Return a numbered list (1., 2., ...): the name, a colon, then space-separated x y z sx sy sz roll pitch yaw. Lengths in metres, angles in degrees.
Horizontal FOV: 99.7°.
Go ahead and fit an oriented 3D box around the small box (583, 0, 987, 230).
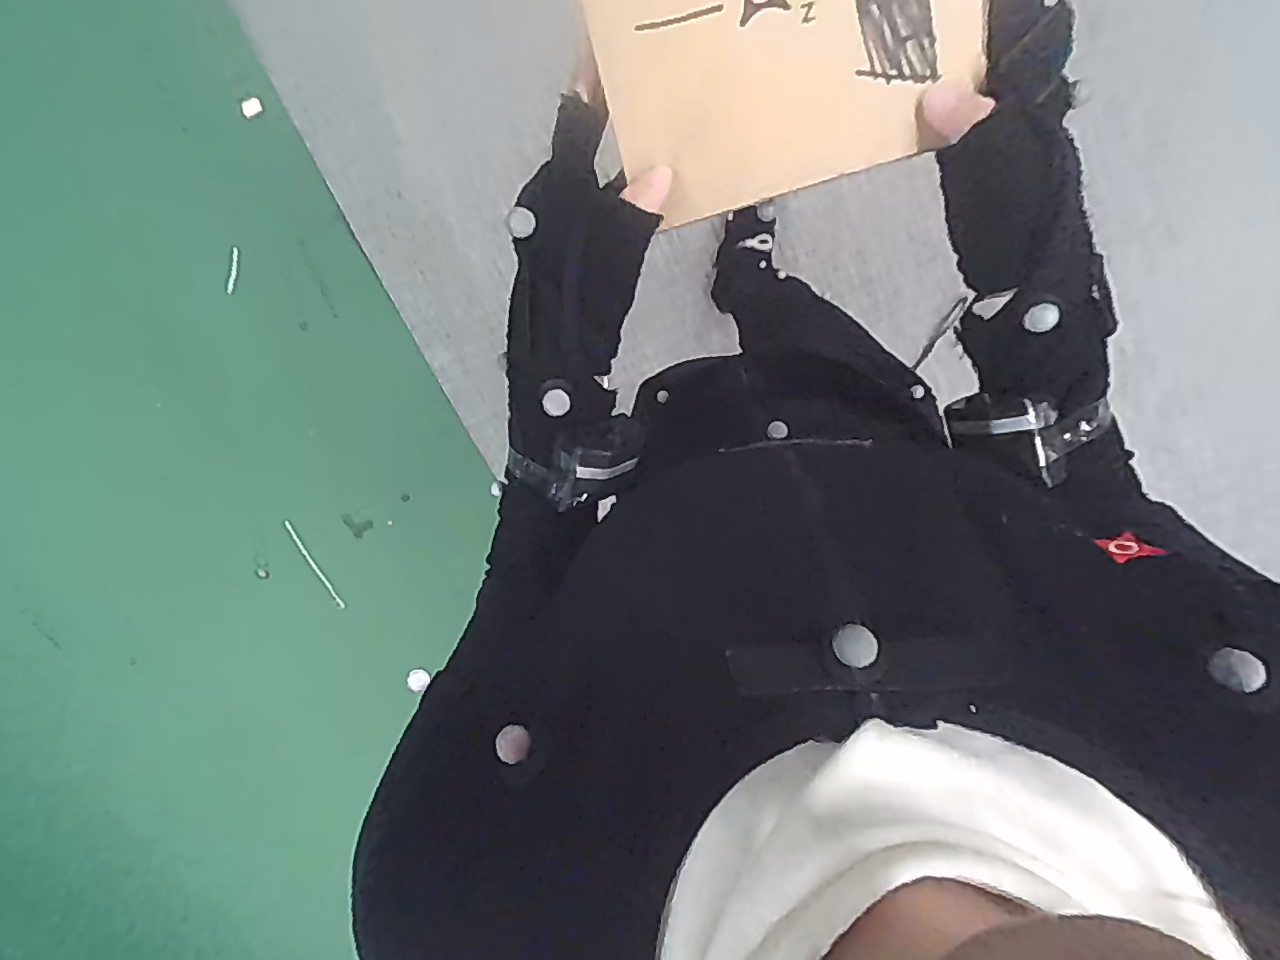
1. small box: 0.063 -0.263 0.312 0.179 0.176 0.168 -16 117 9
